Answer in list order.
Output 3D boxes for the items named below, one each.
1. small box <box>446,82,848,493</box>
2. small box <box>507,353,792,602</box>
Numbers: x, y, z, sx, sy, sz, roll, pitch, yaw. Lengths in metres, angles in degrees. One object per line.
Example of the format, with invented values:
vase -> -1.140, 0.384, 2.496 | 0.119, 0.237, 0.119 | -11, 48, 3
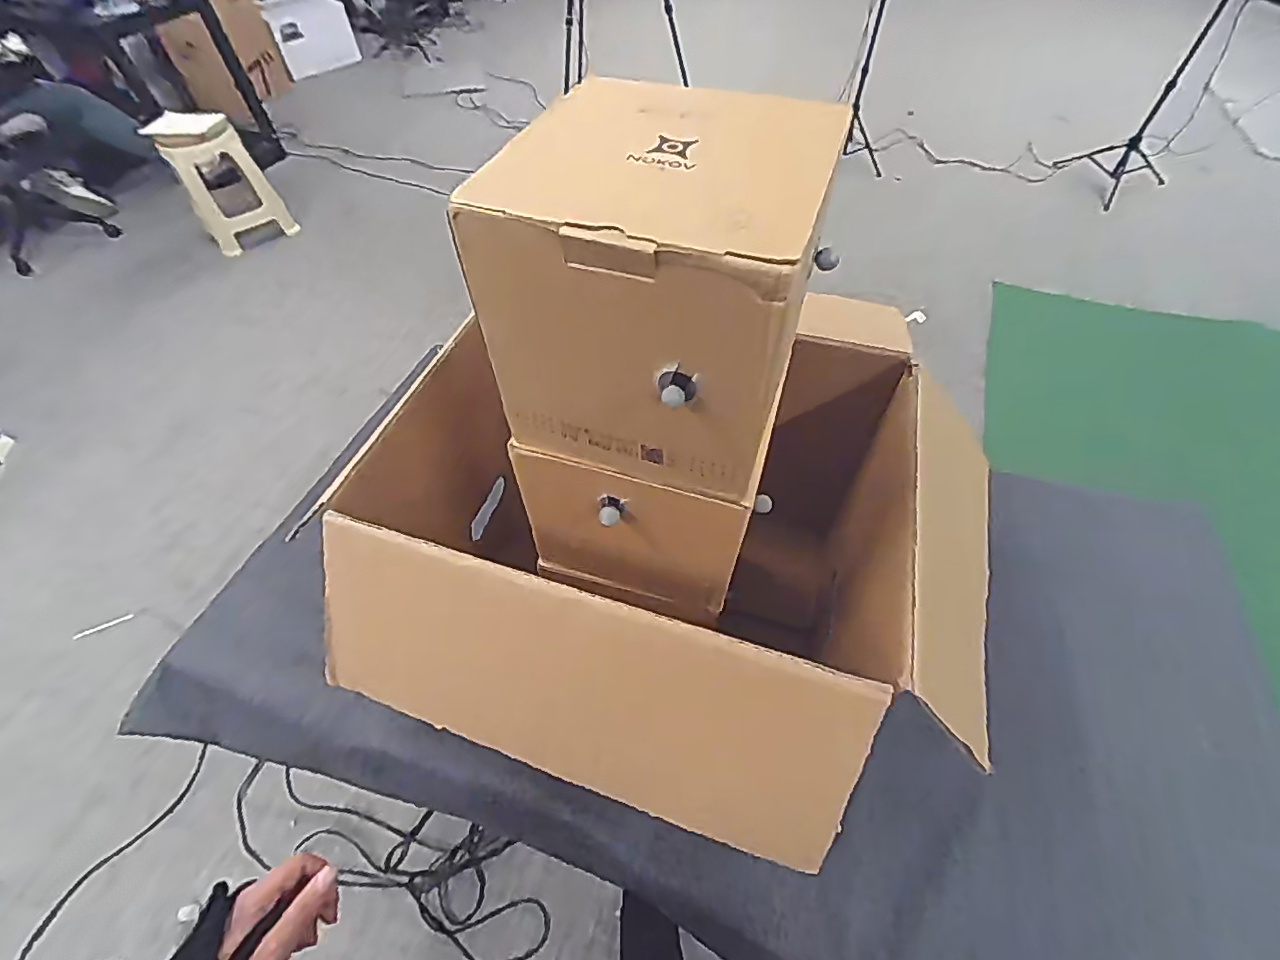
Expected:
small box -> 0.015, -0.118, 0.342 | 0.168, 0.176, 0.179 | 16, 54, 12
small box -> 0.015, -0.014, 0.467 | 0.179, 0.176, 0.168 | 14, 54, 11
